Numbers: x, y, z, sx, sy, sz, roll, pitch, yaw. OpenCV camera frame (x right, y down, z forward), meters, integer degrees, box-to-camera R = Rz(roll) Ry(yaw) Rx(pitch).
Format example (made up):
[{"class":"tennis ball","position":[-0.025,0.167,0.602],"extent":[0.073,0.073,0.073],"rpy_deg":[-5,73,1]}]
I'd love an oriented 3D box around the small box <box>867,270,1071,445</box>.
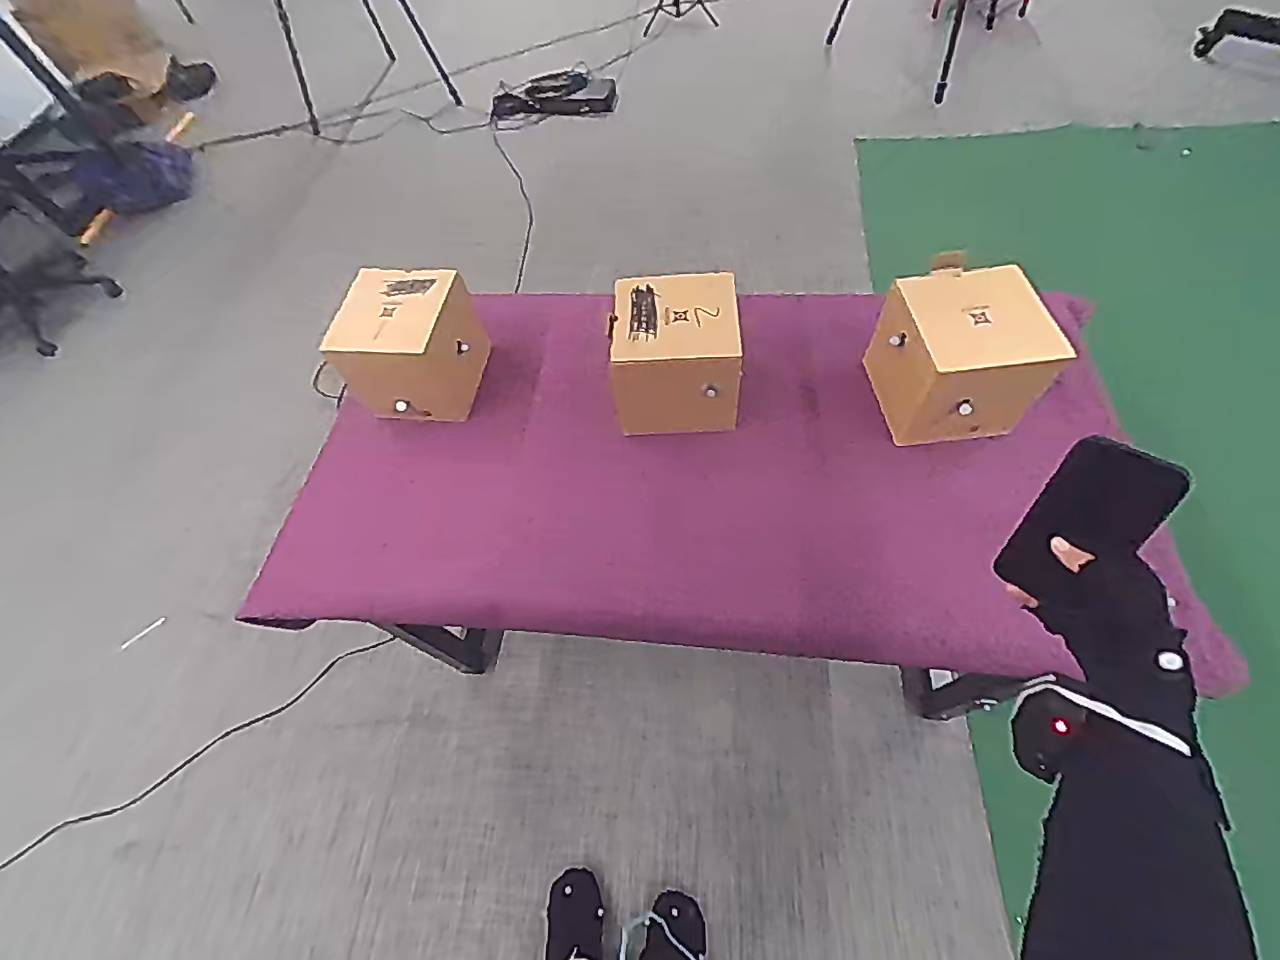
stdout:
[{"class":"small box","position":[0.443,-0.163,0.764],"extent":[0.168,0.176,0.179],"rpy_deg":[-6,58,3]}]

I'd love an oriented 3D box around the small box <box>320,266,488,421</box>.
[{"class":"small box","position":[-0.362,-0.218,0.873],"extent":[0.168,0.176,0.179],"rpy_deg":[4,62,8]}]
